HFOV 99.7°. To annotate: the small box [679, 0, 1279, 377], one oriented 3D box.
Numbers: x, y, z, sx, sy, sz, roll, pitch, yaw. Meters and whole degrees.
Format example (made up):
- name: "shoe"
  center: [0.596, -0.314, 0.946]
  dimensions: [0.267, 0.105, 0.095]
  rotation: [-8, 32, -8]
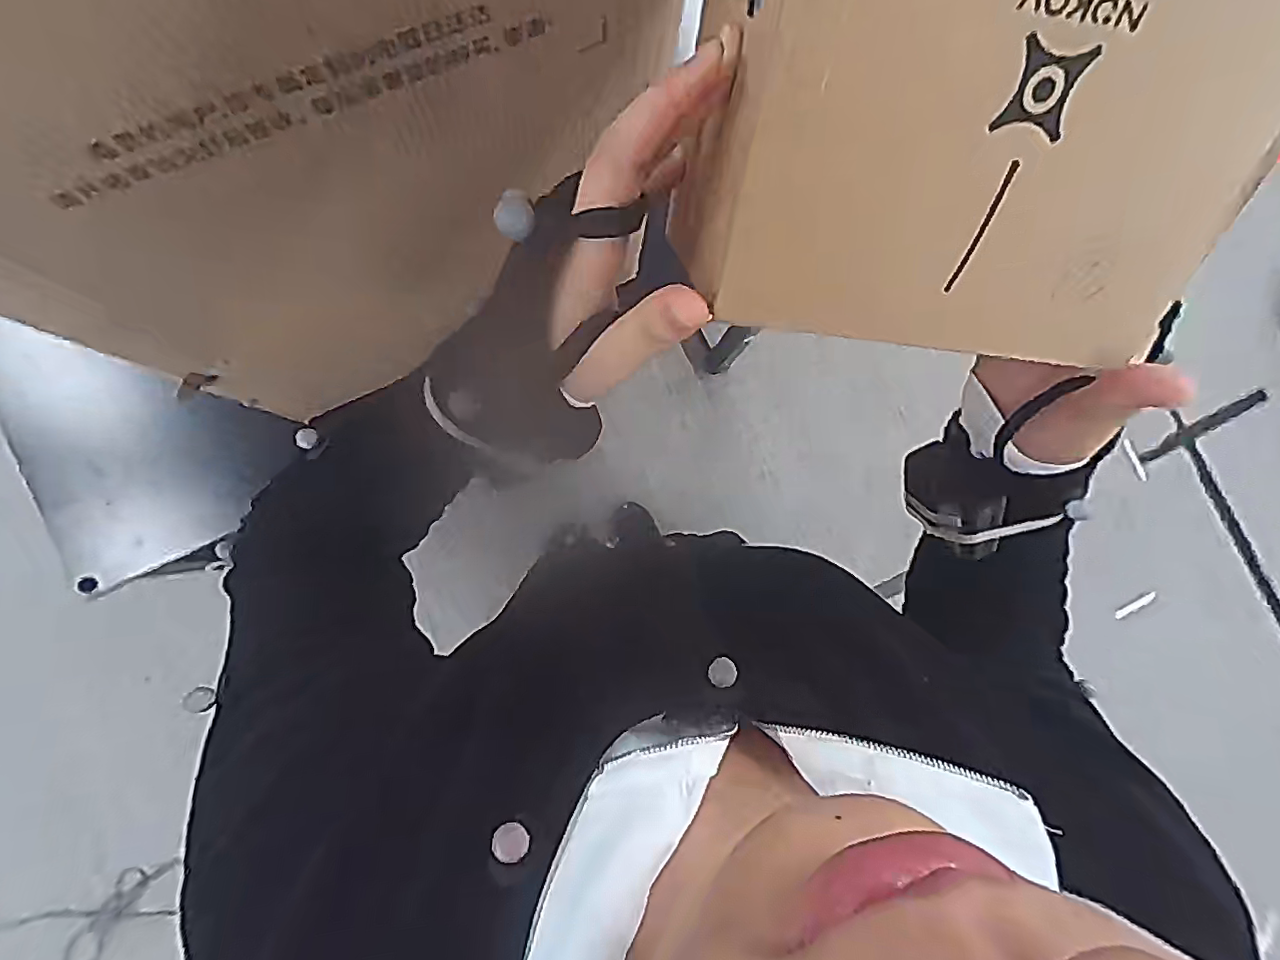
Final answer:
- name: "small box"
  center: [0.115, -0.164, 0.222]
  dimensions: [0.168, 0.176, 0.179]
  rotation: [6, 123, -6]
